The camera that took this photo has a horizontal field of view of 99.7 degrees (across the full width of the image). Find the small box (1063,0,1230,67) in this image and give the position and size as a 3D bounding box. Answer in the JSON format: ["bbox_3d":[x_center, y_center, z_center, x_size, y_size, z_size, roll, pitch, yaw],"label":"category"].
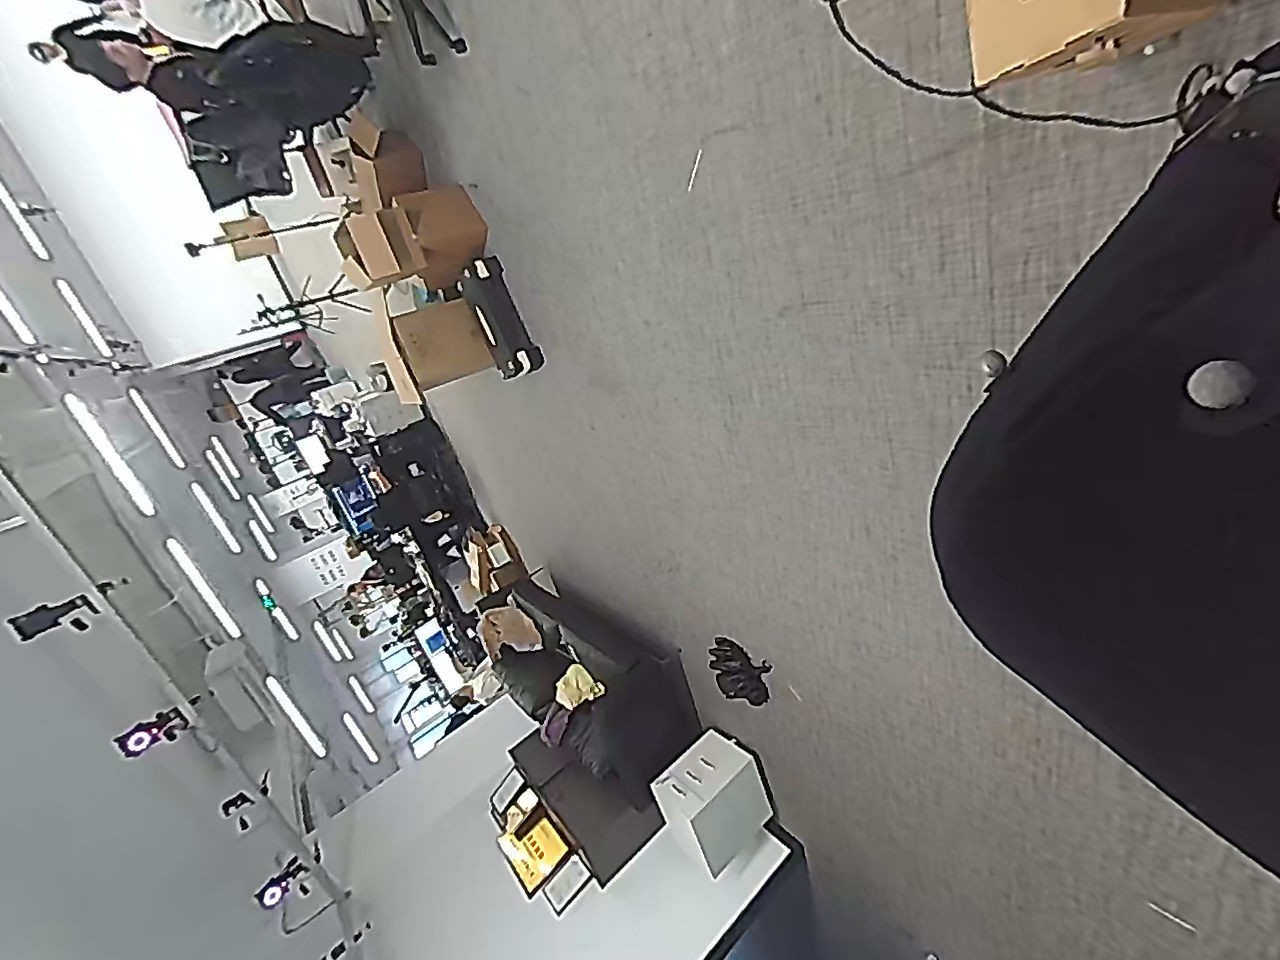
[{"bbox_3d":[0.800,-0.798,0.854,0.168,0.176,0.179,4,120,57],"label":"small box"}]
